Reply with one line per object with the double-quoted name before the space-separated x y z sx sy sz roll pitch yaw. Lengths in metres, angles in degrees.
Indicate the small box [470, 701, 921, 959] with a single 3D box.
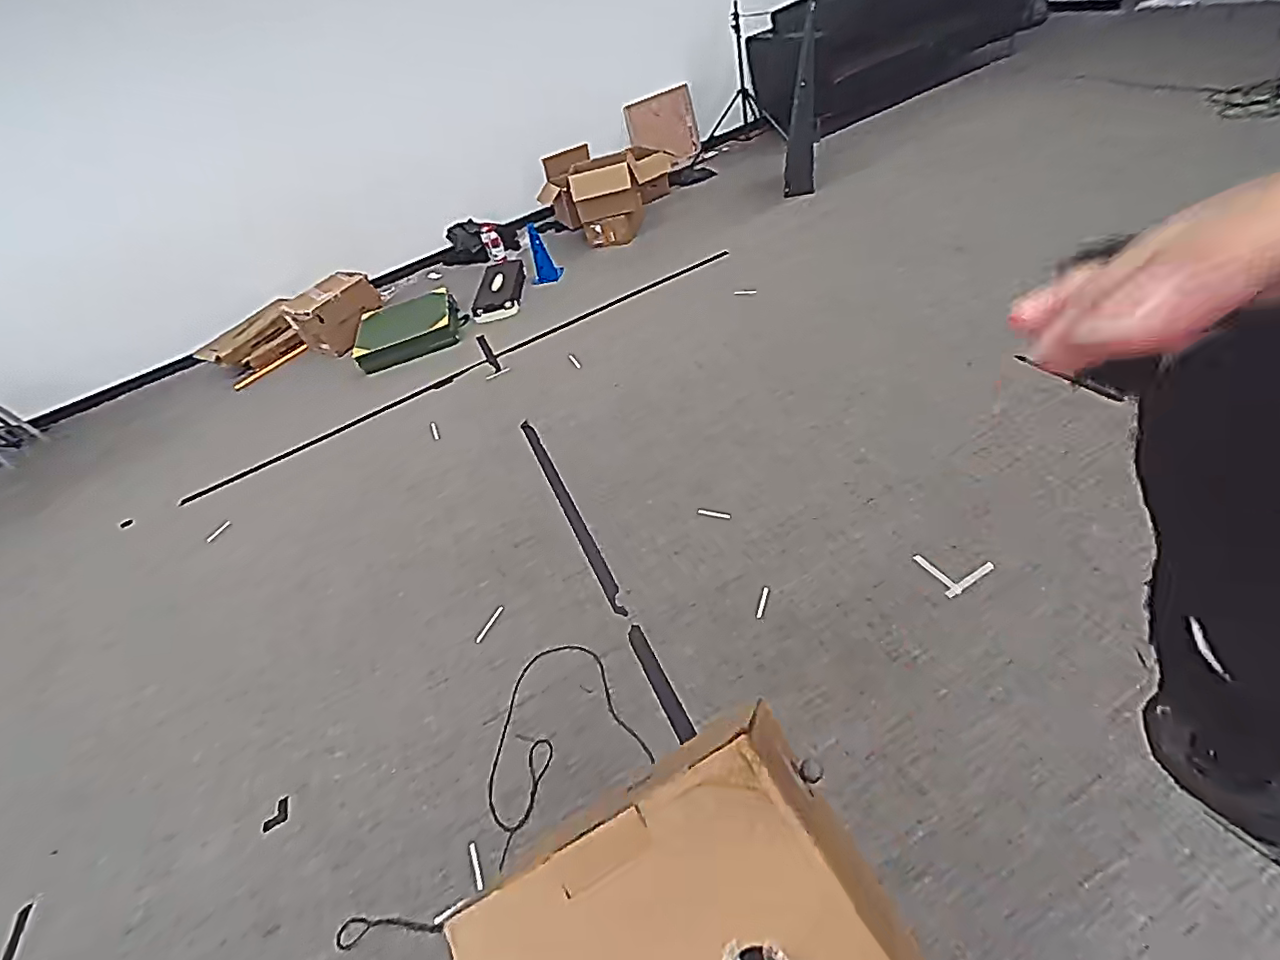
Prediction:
"small box" 0.046 0.252 0.301 0.168 0.179 0.176 -34 68 3
